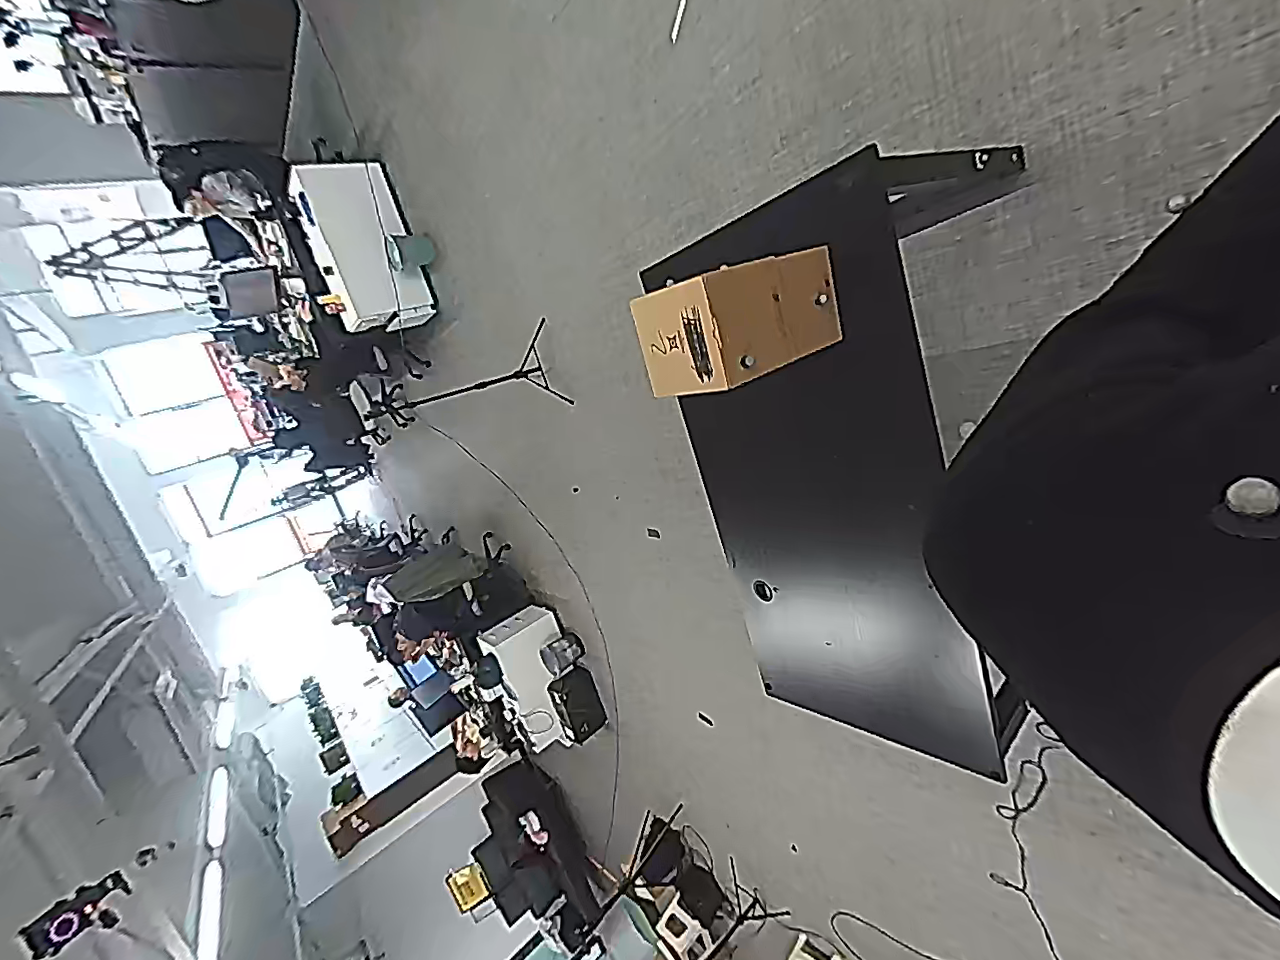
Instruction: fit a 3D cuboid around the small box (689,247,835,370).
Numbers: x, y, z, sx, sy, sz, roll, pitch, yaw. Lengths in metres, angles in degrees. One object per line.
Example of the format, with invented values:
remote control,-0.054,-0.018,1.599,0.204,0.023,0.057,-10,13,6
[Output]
small box,0.221,-0.305,0.973,0.179,0.176,0.168,6,118,52
